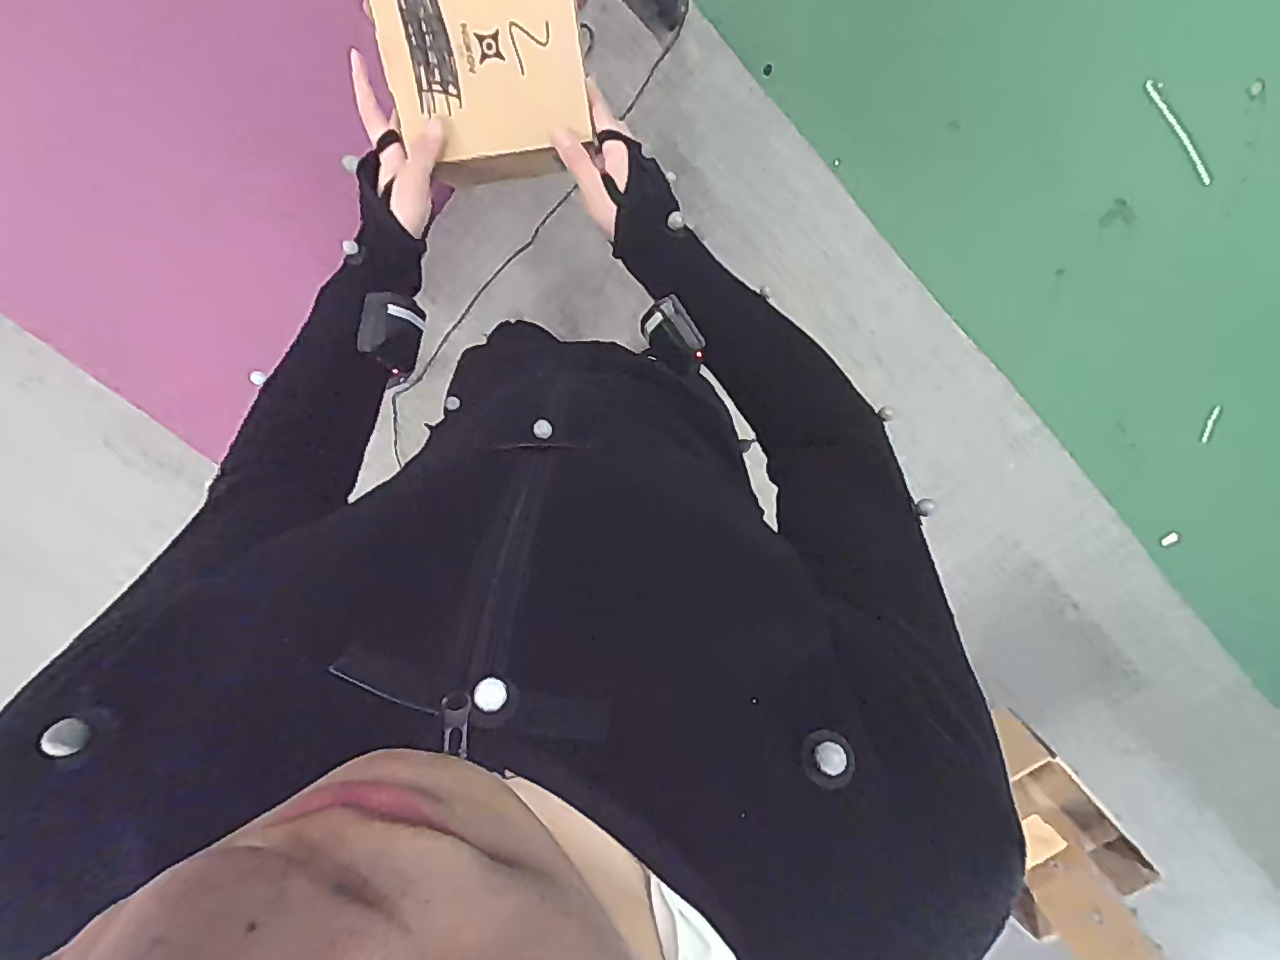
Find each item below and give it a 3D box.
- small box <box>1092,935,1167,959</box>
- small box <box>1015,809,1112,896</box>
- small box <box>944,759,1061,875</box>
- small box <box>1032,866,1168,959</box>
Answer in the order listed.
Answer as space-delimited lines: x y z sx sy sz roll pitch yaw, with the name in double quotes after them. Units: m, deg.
1.159 1.191 1.218 0.179 0.176 0.168 -42 104 12 "small box"
1.156 1.080 1.527 0.179 0.176 0.168 -40 105 13 "small box"
0.960 0.902 1.457 0.179 0.176 0.168 -43 106 13 "small box"
1.159 1.136 1.374 0.179 0.176 0.168 -41 104 11 "small box"
